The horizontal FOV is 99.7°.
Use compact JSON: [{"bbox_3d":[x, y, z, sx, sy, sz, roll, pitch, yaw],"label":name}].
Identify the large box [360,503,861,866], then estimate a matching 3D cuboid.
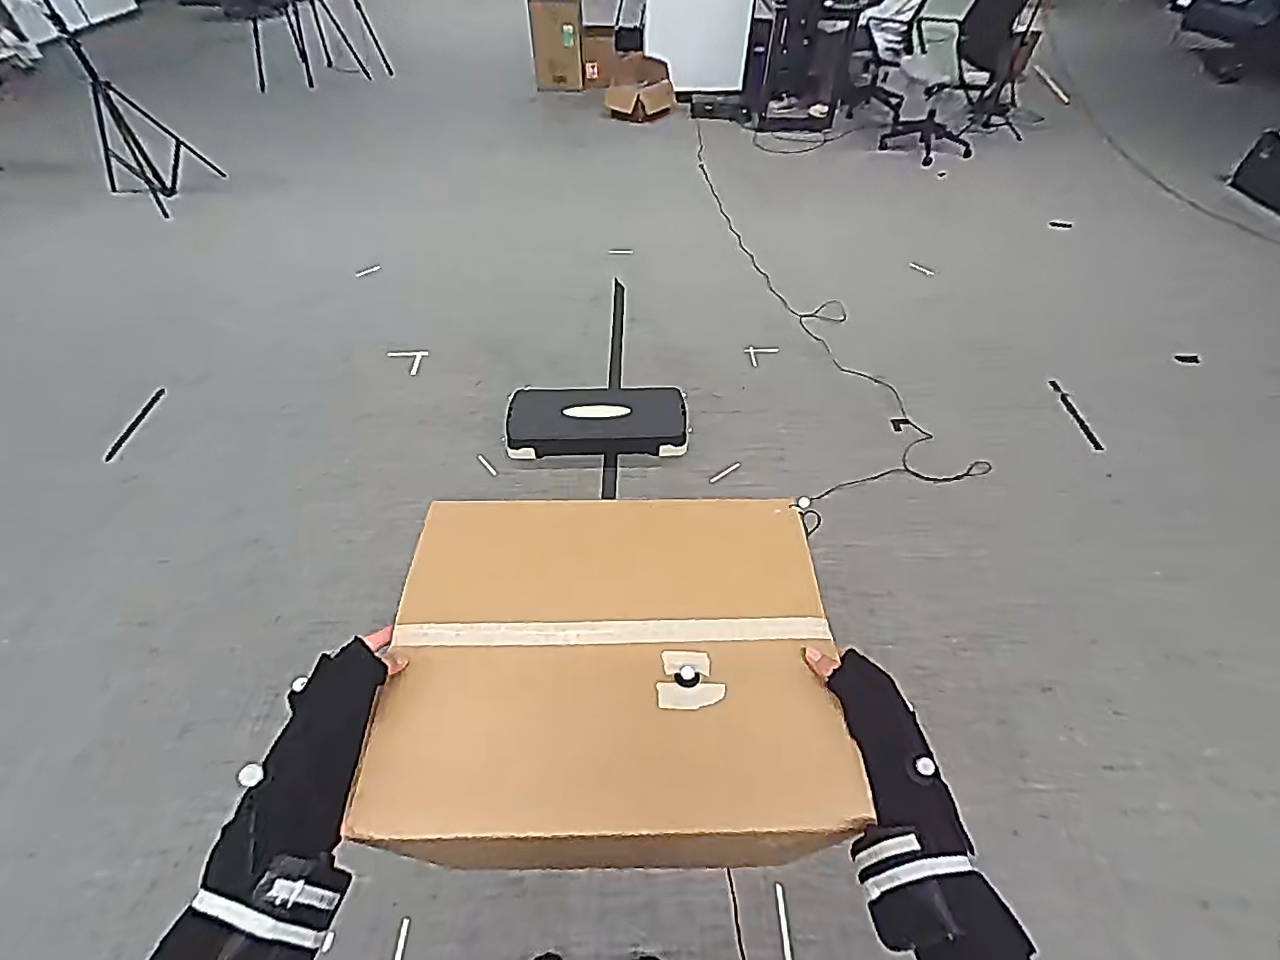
[{"bbox_3d":[-0.027,0.241,0.629,0.408,0.320,0.320,0,51,-1],"label":"large box"}]
